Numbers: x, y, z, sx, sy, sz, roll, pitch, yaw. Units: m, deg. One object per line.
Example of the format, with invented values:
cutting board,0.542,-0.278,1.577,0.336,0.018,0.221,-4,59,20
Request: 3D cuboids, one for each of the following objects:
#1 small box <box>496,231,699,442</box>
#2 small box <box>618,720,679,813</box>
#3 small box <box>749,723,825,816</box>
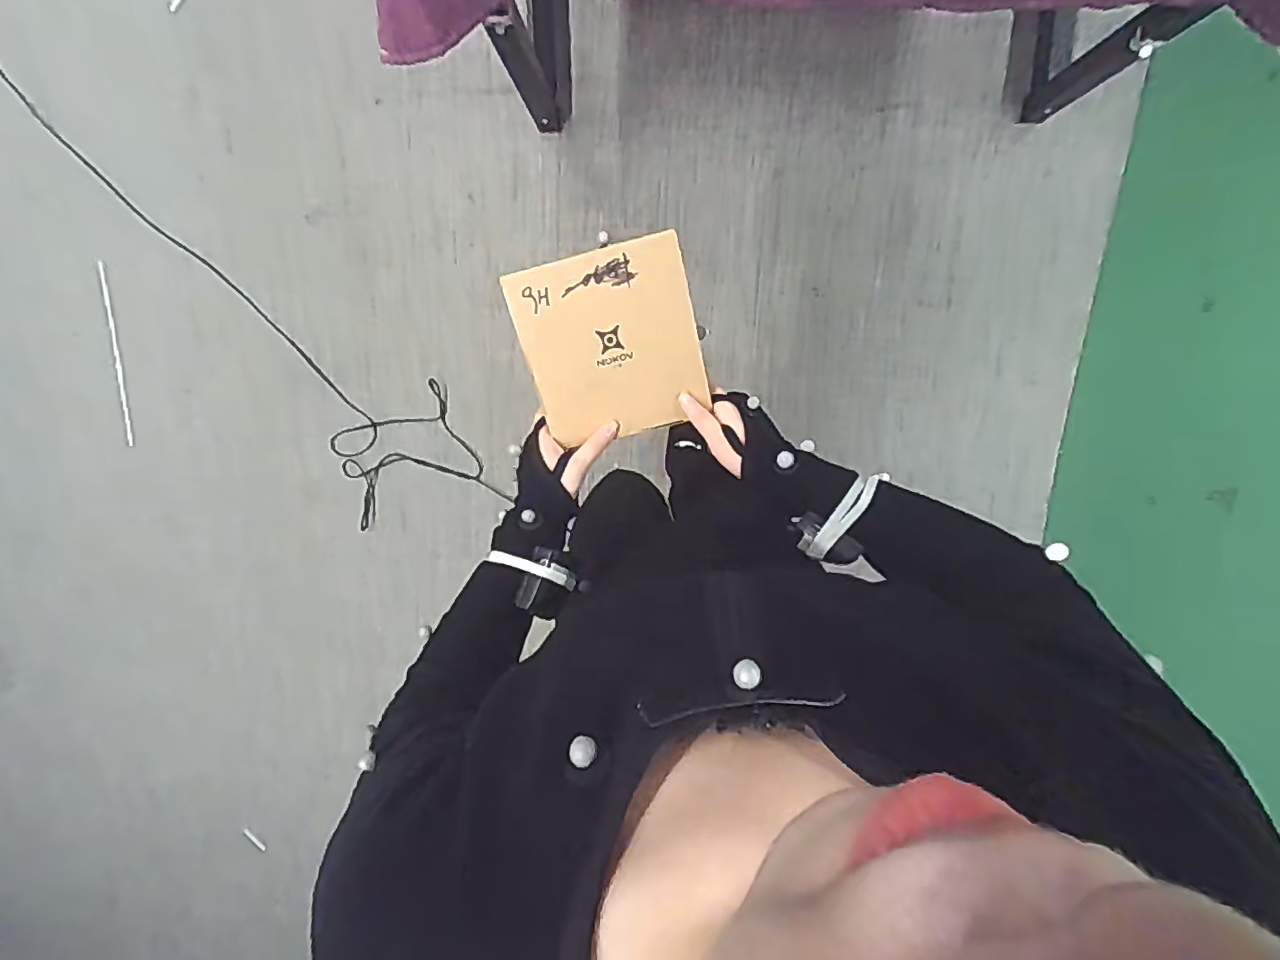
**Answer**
small box,-0.034,-0.164,0.594,0.168,0.176,0.179,-12,113,6
small box,0.025,0.827,1.574,0.168,0.176,0.179,3,103,2
small box,0.414,0.826,1.555,0.179,0.176,0.168,2,103,2
